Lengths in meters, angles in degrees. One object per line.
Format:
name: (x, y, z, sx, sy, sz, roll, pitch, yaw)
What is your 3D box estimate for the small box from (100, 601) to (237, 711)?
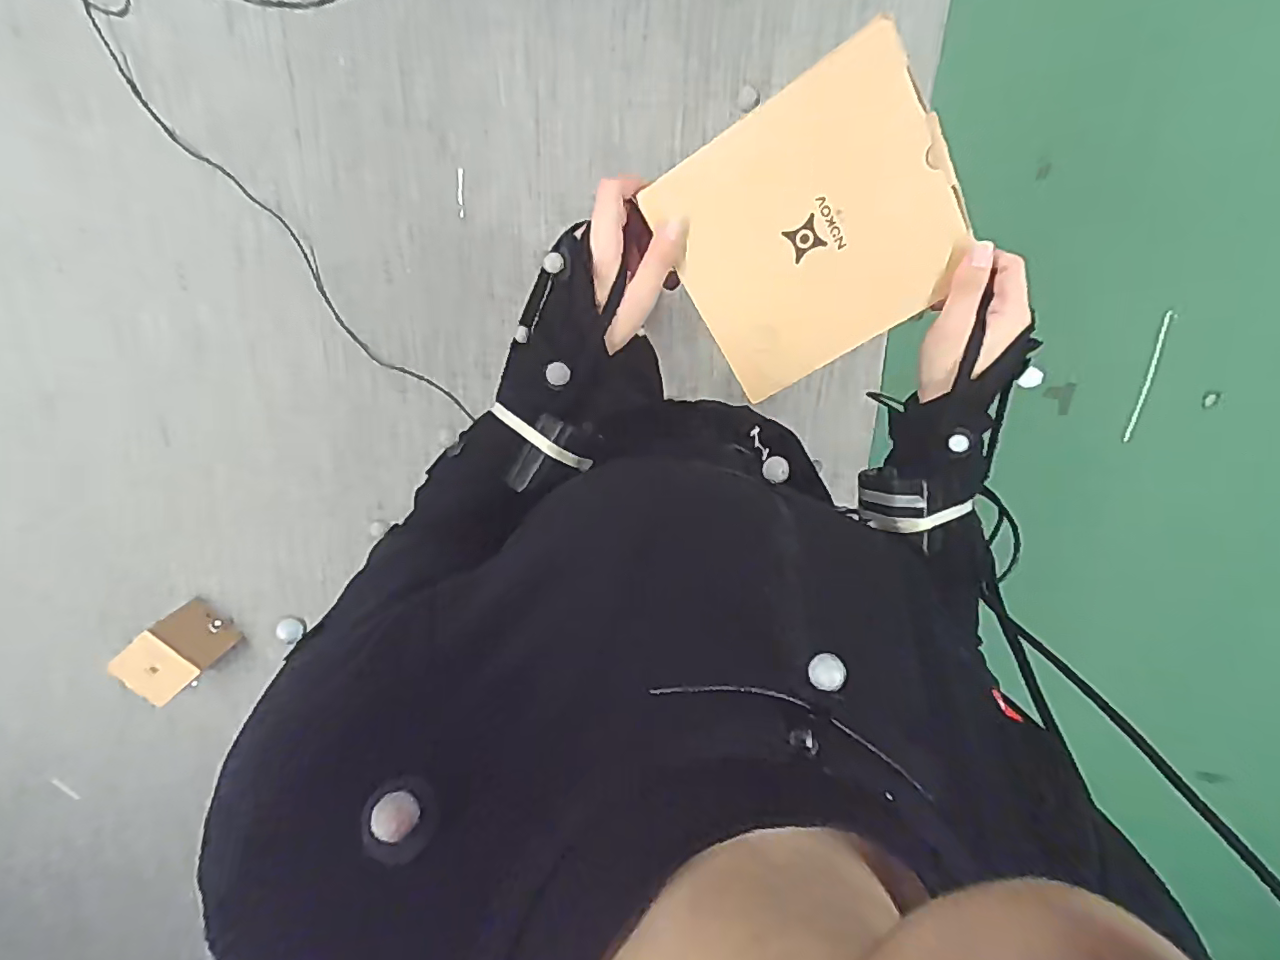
small box: (-1.217, 0.454, 1.412, 0.179, 0.176, 0.168, -39, 105, 10)
